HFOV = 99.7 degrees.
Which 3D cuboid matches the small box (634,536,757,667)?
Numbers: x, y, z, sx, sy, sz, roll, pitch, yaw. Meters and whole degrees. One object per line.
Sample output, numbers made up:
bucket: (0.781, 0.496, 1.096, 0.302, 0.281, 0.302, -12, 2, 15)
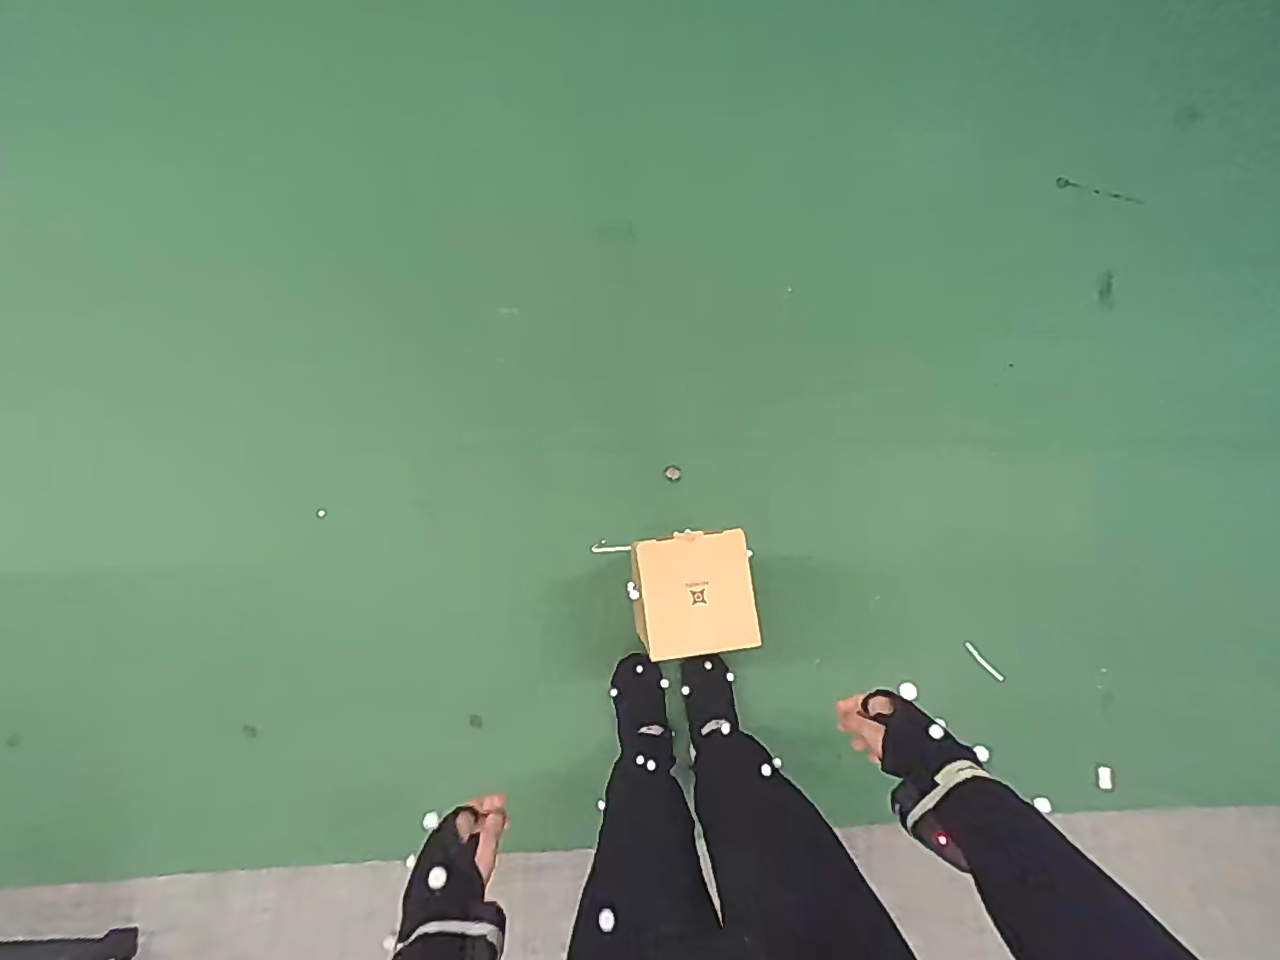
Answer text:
small box: (0.081, 0.189, 0.876, 0.168, 0.176, 0.179, -7, 81, -3)
